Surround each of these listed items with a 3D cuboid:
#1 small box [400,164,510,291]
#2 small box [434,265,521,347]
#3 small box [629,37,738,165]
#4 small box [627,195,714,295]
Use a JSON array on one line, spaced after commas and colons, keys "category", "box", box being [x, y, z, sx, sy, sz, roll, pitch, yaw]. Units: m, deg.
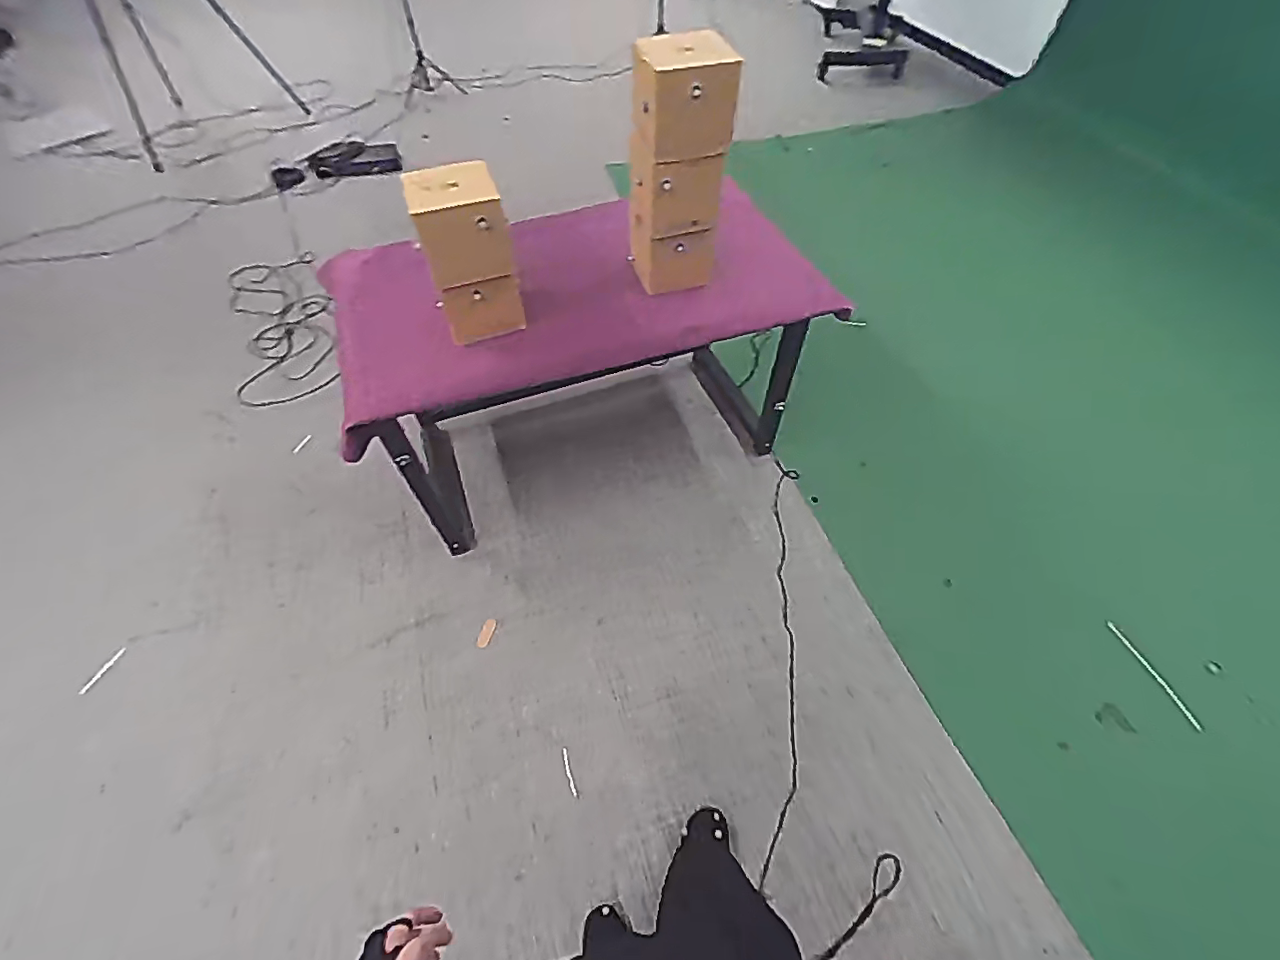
[{"category": "small box", "box": [-0.382, -0.529, 1.139, 0.179, 0.176, 0.168, -17, 57, -12]}, {"category": "small box", "box": [-0.390, -0.445, 1.282, 0.179, 0.176, 0.168, -19, 58, -12]}, {"category": "small box", "box": [0.082, -0.770, 1.107, 0.179, 0.176, 0.168, -13, 57, -9]}, {"category": "small box", "box": [0.074, -0.597, 1.385, 0.179, 0.176, 0.168, -15, 56, -10]}]
